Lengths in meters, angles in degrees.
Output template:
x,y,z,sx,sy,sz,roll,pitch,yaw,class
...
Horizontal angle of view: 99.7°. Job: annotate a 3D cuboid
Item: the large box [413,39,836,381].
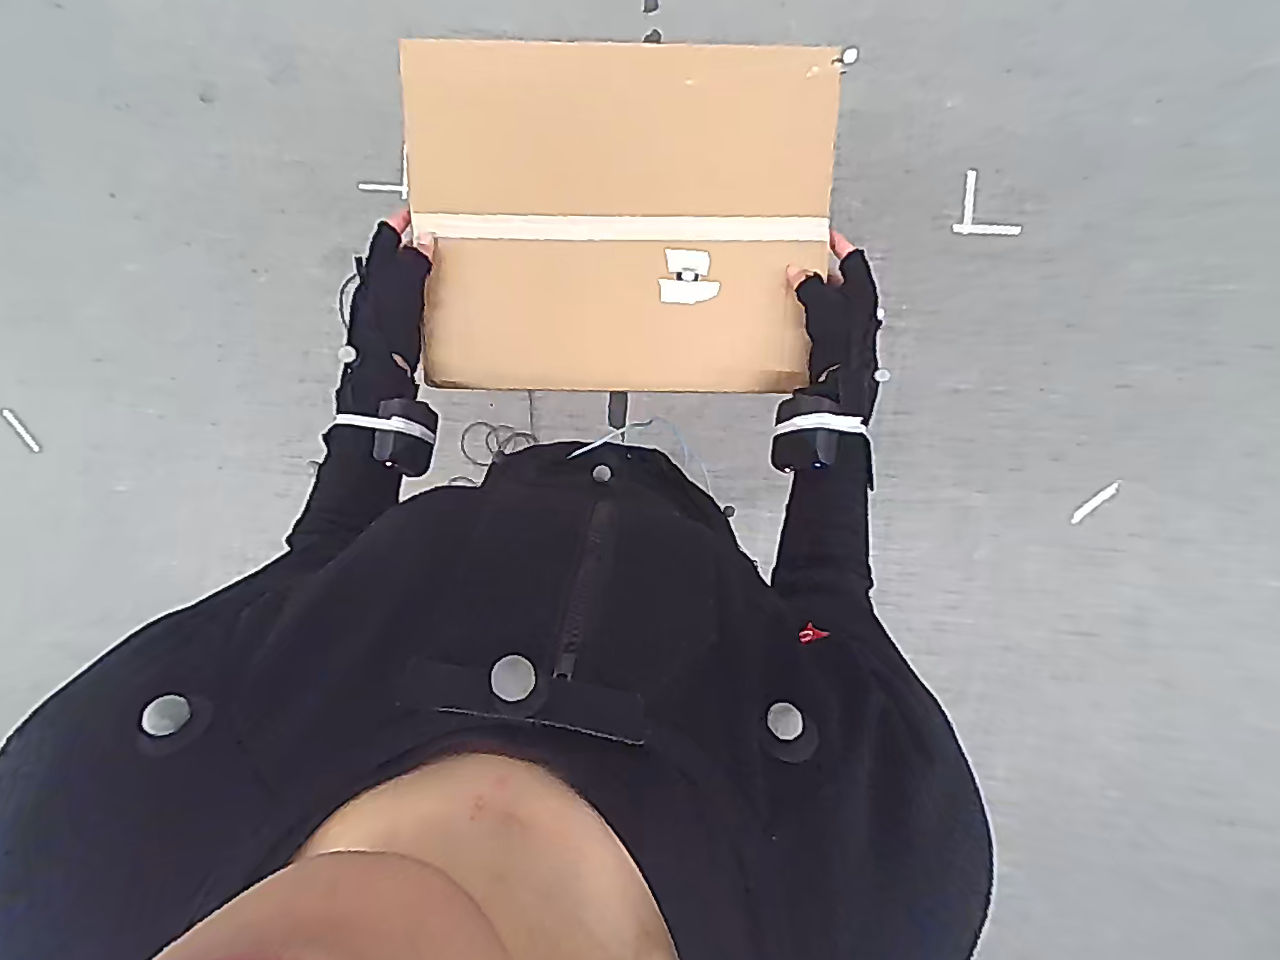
x,y,z,sx,sy,sz,roll,pitch,yaw,class
-0.018,-0.288,0.679,0.408,0.320,0.320,1,103,-1,large box
